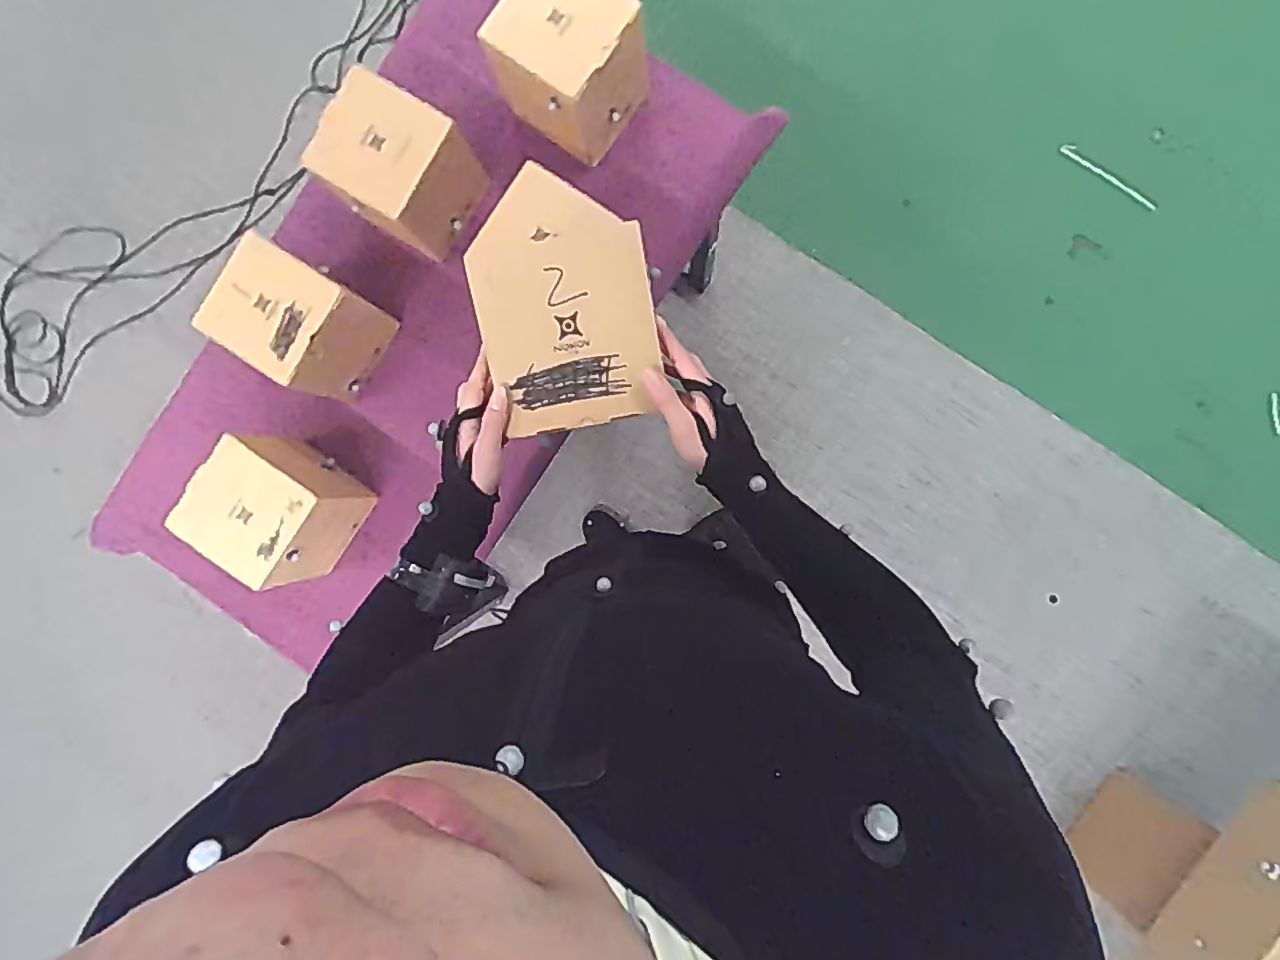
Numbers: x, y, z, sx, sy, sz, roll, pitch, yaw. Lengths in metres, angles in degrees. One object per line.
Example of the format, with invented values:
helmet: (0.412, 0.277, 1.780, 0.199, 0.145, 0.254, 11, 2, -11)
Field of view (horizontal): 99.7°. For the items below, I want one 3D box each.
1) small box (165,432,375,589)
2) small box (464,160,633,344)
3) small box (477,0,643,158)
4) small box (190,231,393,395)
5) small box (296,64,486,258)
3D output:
small box: (-0.570, 0.045, 0.856, 0.179, 0.176, 0.168, 35, 93, 3)
small box: (-0.129, -0.335, 0.835, 0.179, 0.176, 0.168, 35, 92, 5)
small box: (-0.112, -0.648, 0.838, 0.179, 0.176, 0.168, 36, 92, 2)
small box: (-0.535, -0.249, 0.859, 0.179, 0.176, 0.168, 33, 91, 4)
small box: (-0.378, -0.485, 0.853, 0.179, 0.176, 0.168, 33, 92, 3)
